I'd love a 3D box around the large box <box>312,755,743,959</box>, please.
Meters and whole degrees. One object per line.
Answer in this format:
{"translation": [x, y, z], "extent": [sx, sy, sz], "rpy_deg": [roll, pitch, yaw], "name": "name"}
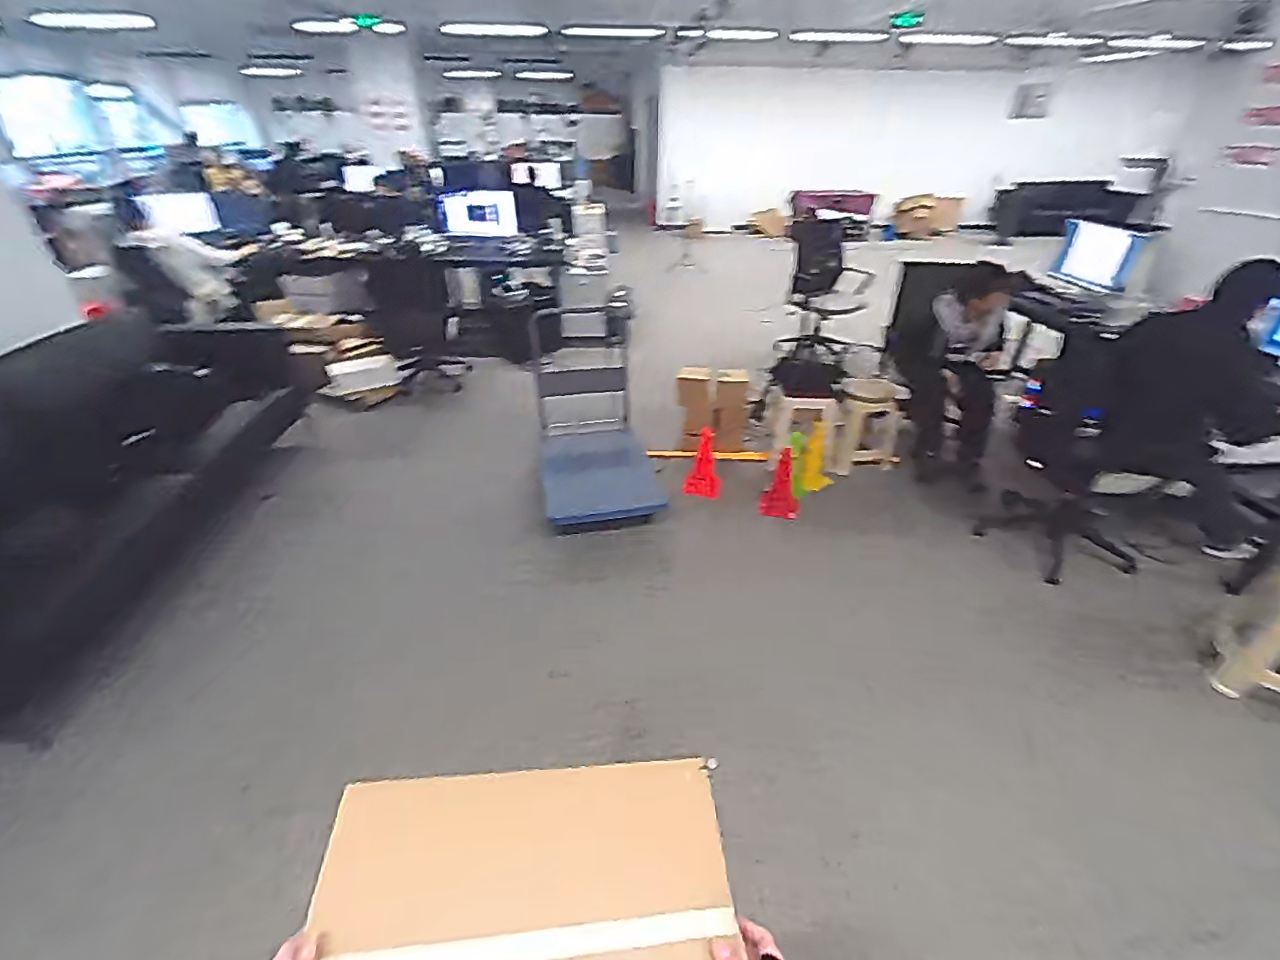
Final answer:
{"translation": [-0.119, 0.550, 0.608], "extent": [0.408, 0.320, 0.320], "rpy_deg": [0, 41, -9], "name": "large box"}
